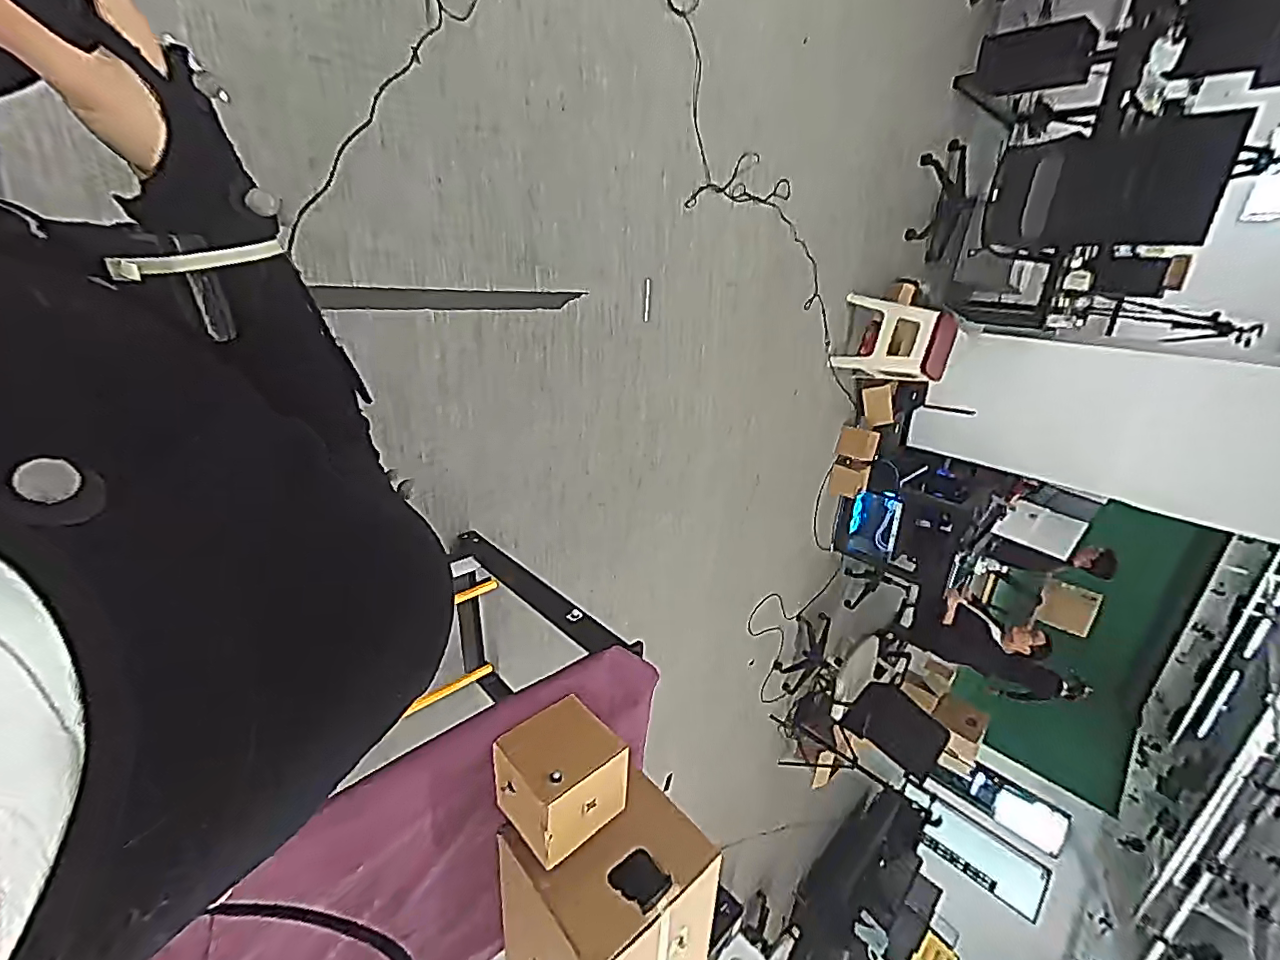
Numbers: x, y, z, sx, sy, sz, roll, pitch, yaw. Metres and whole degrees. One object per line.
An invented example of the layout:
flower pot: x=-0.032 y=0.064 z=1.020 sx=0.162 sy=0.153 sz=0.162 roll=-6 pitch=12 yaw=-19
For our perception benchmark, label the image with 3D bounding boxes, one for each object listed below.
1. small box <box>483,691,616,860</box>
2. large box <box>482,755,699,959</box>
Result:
small box: x=-0.166 y=0.526 z=0.991 sx=0.179 sy=0.176 sz=0.168 roll=-18 pitch=122 yaw=-40
large box: x=-0.103 y=0.856 z=1.108 sx=0.320 sy=0.320 sz=0.408 roll=-16 pitch=117 yaw=-40
